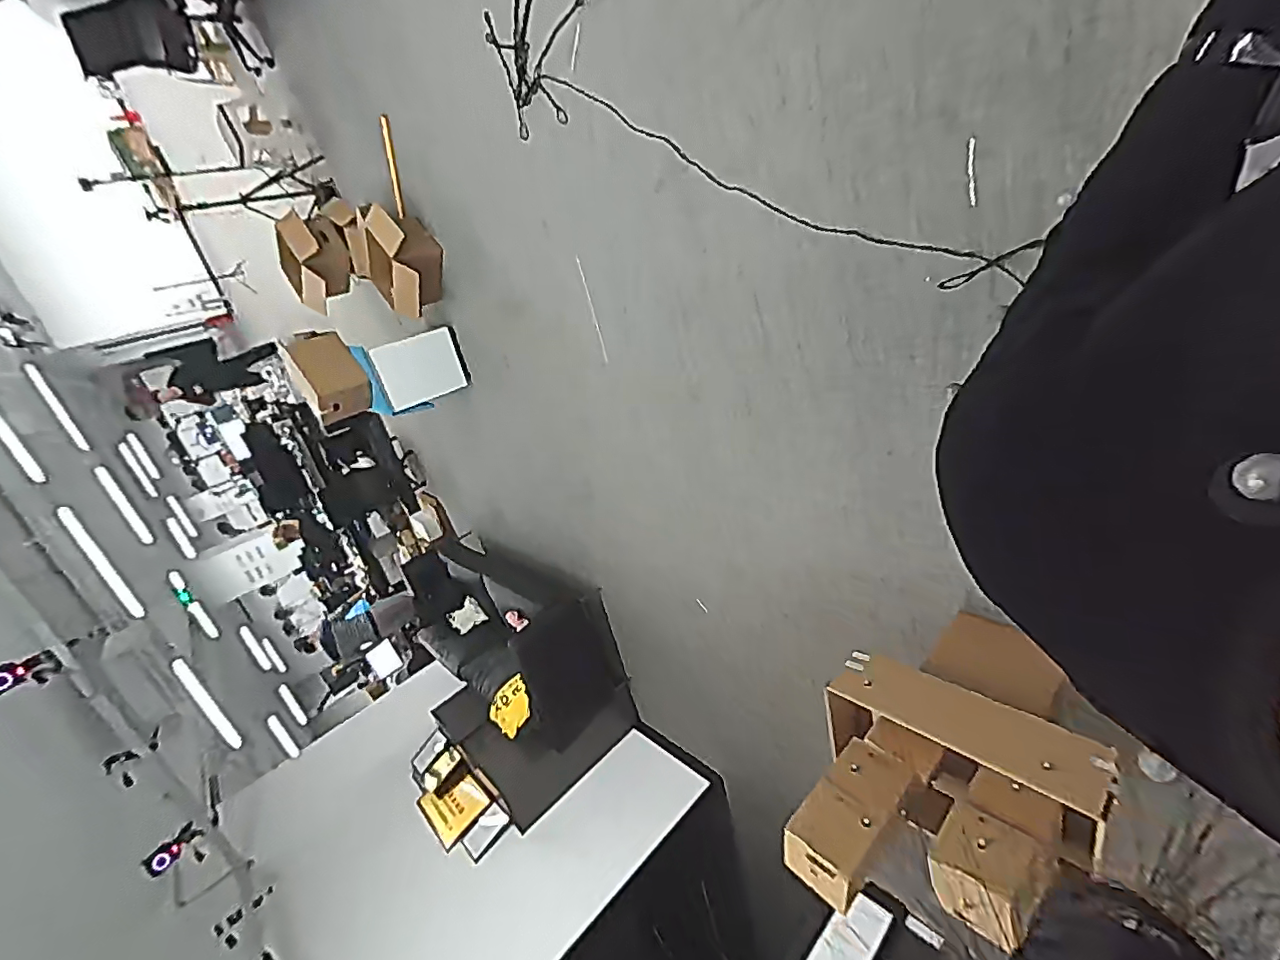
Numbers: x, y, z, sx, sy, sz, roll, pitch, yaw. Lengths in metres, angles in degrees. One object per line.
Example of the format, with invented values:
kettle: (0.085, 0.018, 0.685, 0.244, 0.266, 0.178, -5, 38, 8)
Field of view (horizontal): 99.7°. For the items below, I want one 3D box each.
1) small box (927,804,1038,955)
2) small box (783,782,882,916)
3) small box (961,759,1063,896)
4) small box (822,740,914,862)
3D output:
small box: (0.765, 0.876, 1.206, 0.168, 0.176, 0.179, 10, 122, 50)
small box: (0.467, 0.884, 1.311, 0.168, 0.176, 0.179, 24, 133, 43)
small box: (0.892, 0.821, 1.295, 0.168, 0.176, 0.179, 8, 121, 49)
small box: (0.589, 0.819, 1.399, 0.168, 0.176, 0.179, 20, 130, 45)
